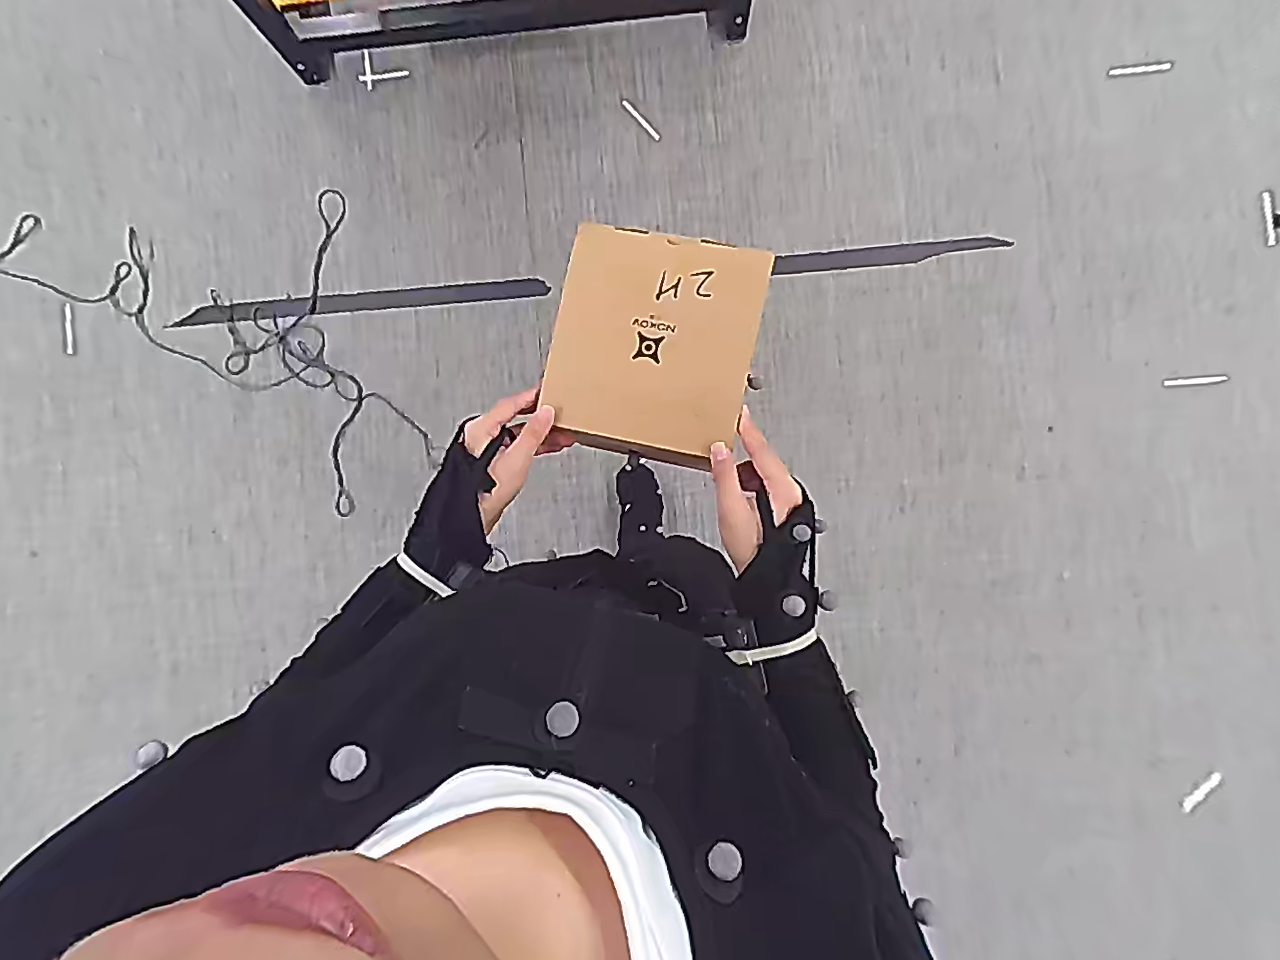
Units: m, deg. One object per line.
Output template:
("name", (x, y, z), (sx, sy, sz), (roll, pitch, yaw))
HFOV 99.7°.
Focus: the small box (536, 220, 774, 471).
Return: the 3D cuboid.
("small box", (0.020, -0.111, 0.515), (0.168, 0.176, 0.179), (12, 88, 7))
